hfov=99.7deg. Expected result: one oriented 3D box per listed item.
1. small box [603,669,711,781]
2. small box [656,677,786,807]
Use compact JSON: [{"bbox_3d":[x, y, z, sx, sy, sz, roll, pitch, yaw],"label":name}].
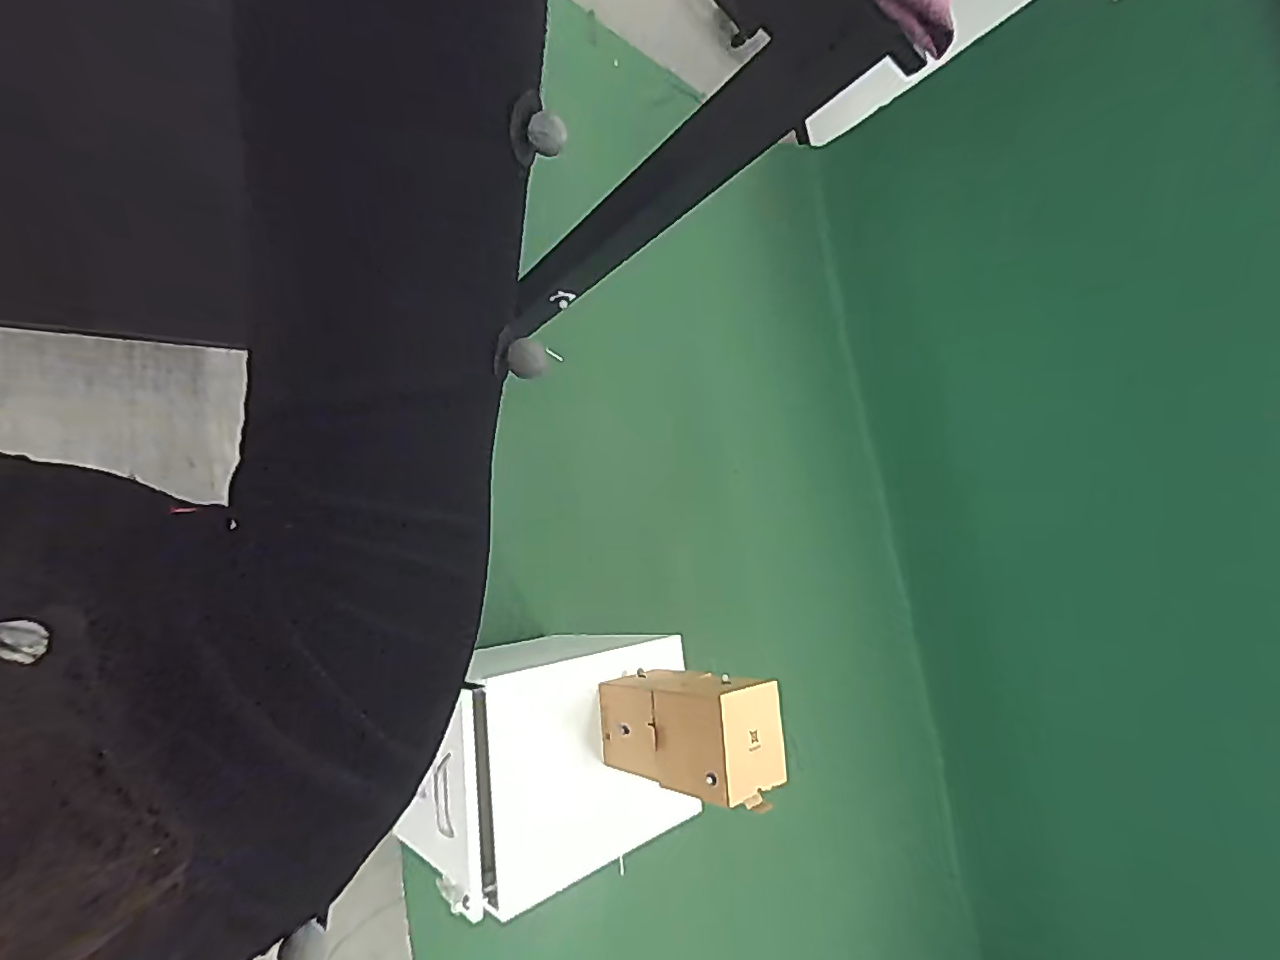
[{"bbox_3d":[0.037,0.490,1.110,0.179,0.176,0.168,3,77,-41],"label":"small box"},{"bbox_3d":[0.143,0.462,0.989,0.168,0.176,0.179,7,75,-41],"label":"small box"}]
